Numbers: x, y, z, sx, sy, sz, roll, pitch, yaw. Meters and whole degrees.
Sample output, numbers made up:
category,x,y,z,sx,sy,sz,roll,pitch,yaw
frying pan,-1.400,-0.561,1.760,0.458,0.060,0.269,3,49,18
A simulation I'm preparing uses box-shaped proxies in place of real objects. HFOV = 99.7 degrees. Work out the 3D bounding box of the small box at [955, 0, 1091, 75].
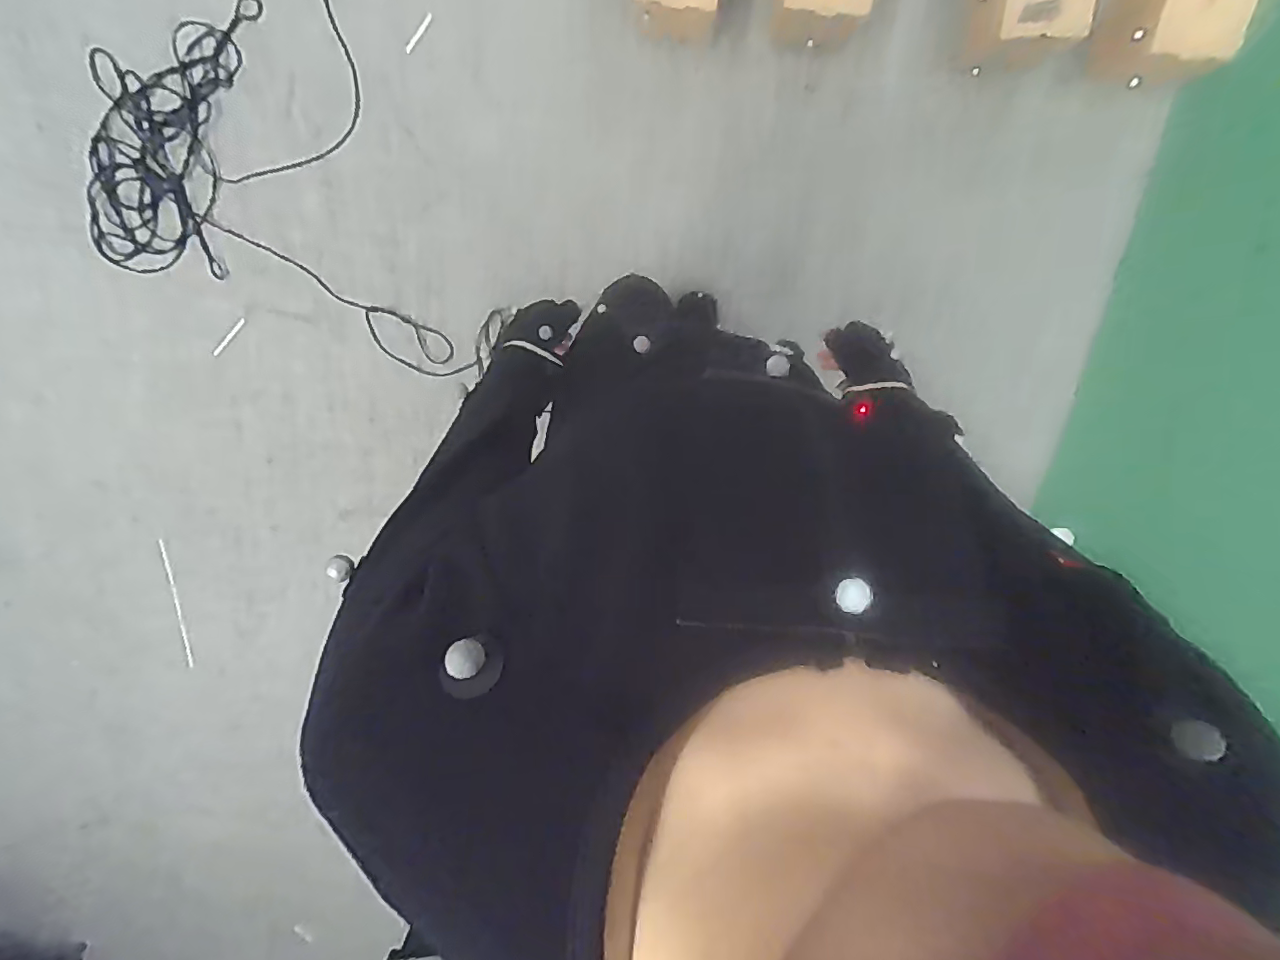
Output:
category,x,y,z,sx,sy,sz,roll,pitch,yaw
small box,0.764,-0.940,1.081,0.168,0.176,0.179,1,107,1

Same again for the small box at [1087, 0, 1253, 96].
category,x,y,z,sx,sy,sz,roll,pitch,yaw
small box,1.055,-0.907,1.082,0.168,0.176,0.179,5,109,1
